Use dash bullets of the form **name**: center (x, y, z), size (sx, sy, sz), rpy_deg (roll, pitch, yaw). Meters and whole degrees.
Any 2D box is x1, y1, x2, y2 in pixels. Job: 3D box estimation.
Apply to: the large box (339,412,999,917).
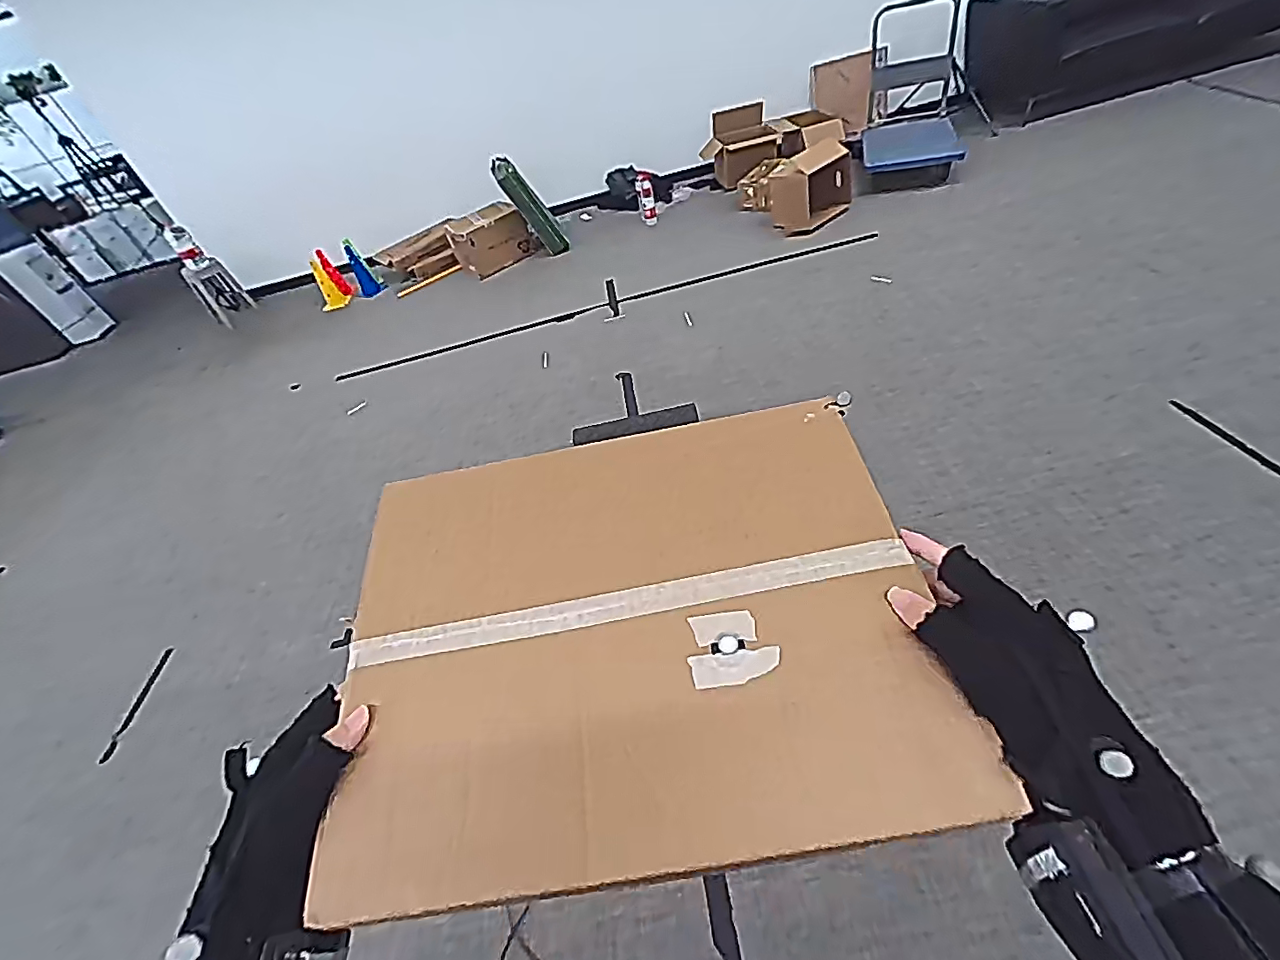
- **large box**: center (0.013, 0.184, 0.520), size (0.408, 0.320, 0.320), rpy_deg (-11, 54, 2)
